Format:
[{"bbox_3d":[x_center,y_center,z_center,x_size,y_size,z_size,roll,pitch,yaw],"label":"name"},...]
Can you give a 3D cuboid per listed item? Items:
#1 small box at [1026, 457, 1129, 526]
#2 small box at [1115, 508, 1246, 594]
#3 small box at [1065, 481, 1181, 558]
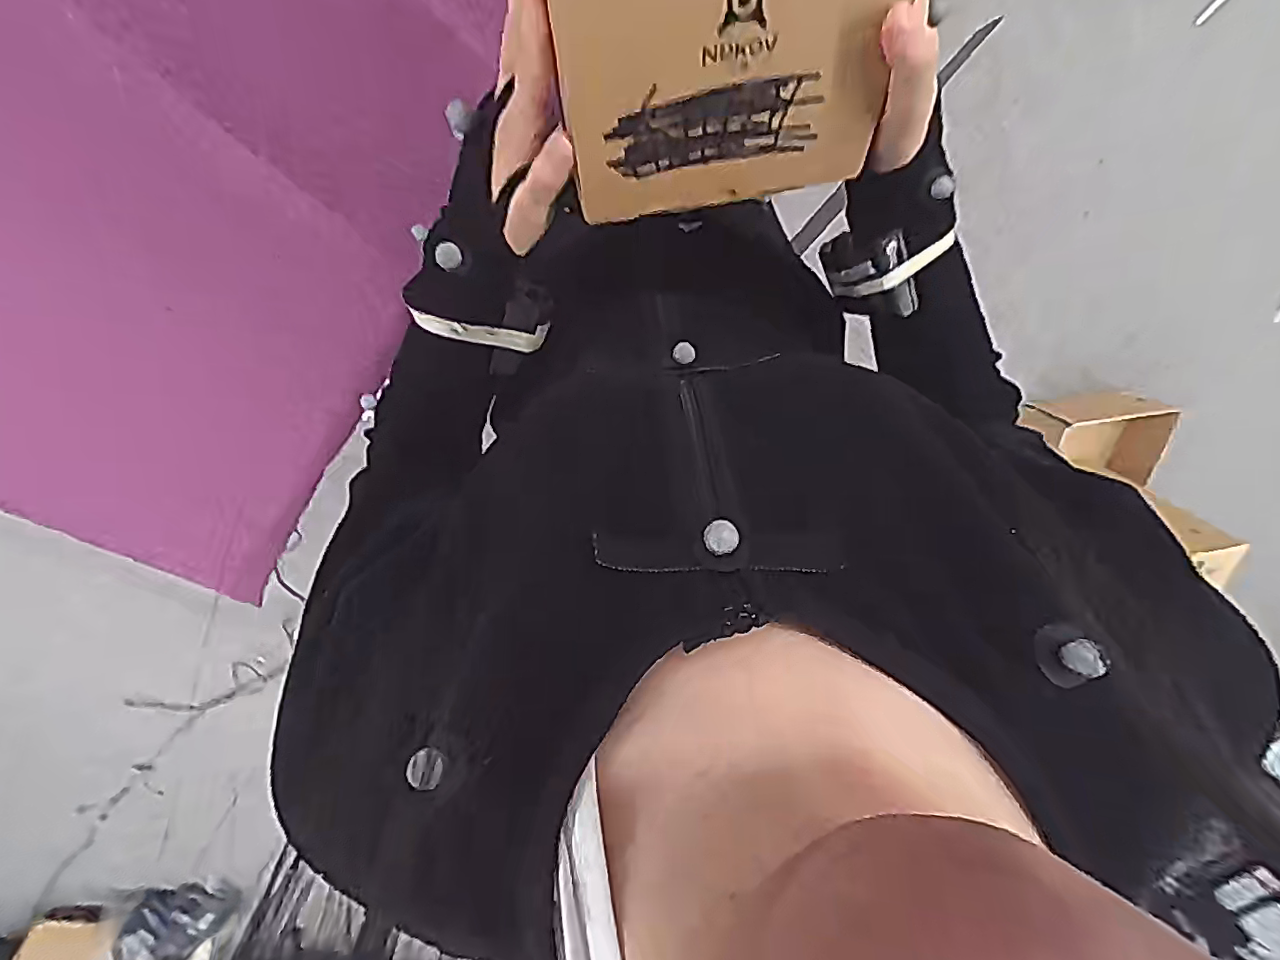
[{"bbox_3d":[1.456,0.034,1.810,0.179,0.176,0.168,-6,121,-8],"label":"small box"},{"bbox_3d":[1.518,0.197,1.534,0.179,0.176,0.168,-8,121,-8],"label":"small box"},{"bbox_3d":[1.485,0.116,1.673,0.179,0.176,0.168,-6,121,-7],"label":"small box"}]
